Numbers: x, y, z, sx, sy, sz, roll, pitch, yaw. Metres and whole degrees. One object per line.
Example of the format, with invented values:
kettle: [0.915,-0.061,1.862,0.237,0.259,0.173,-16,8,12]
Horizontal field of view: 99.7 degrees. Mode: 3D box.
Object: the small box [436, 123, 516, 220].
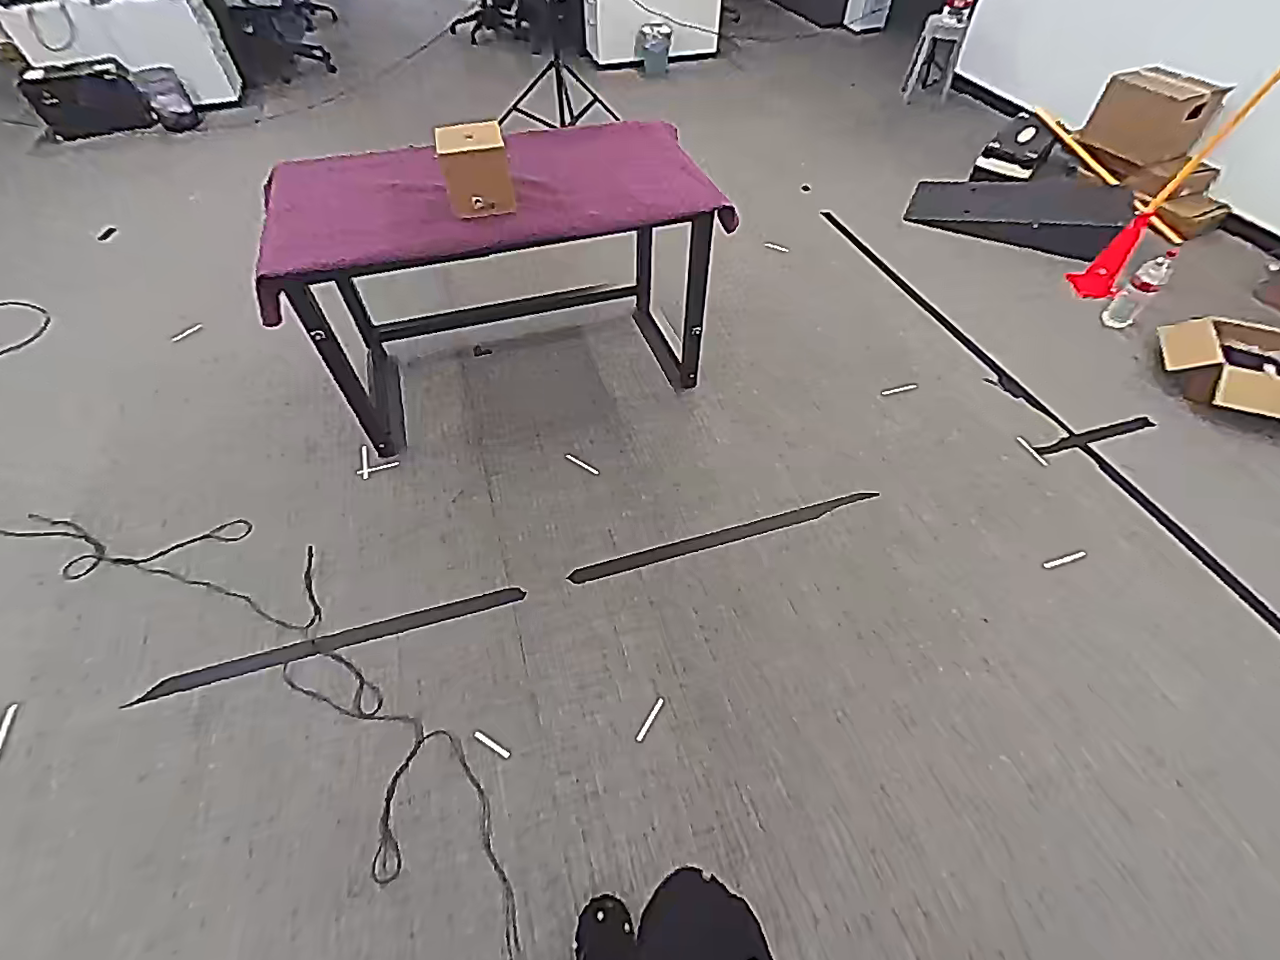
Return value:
small box: [-0.433,-0.819,1.439,0.168,0.176,0.179,-13,54,-9]
